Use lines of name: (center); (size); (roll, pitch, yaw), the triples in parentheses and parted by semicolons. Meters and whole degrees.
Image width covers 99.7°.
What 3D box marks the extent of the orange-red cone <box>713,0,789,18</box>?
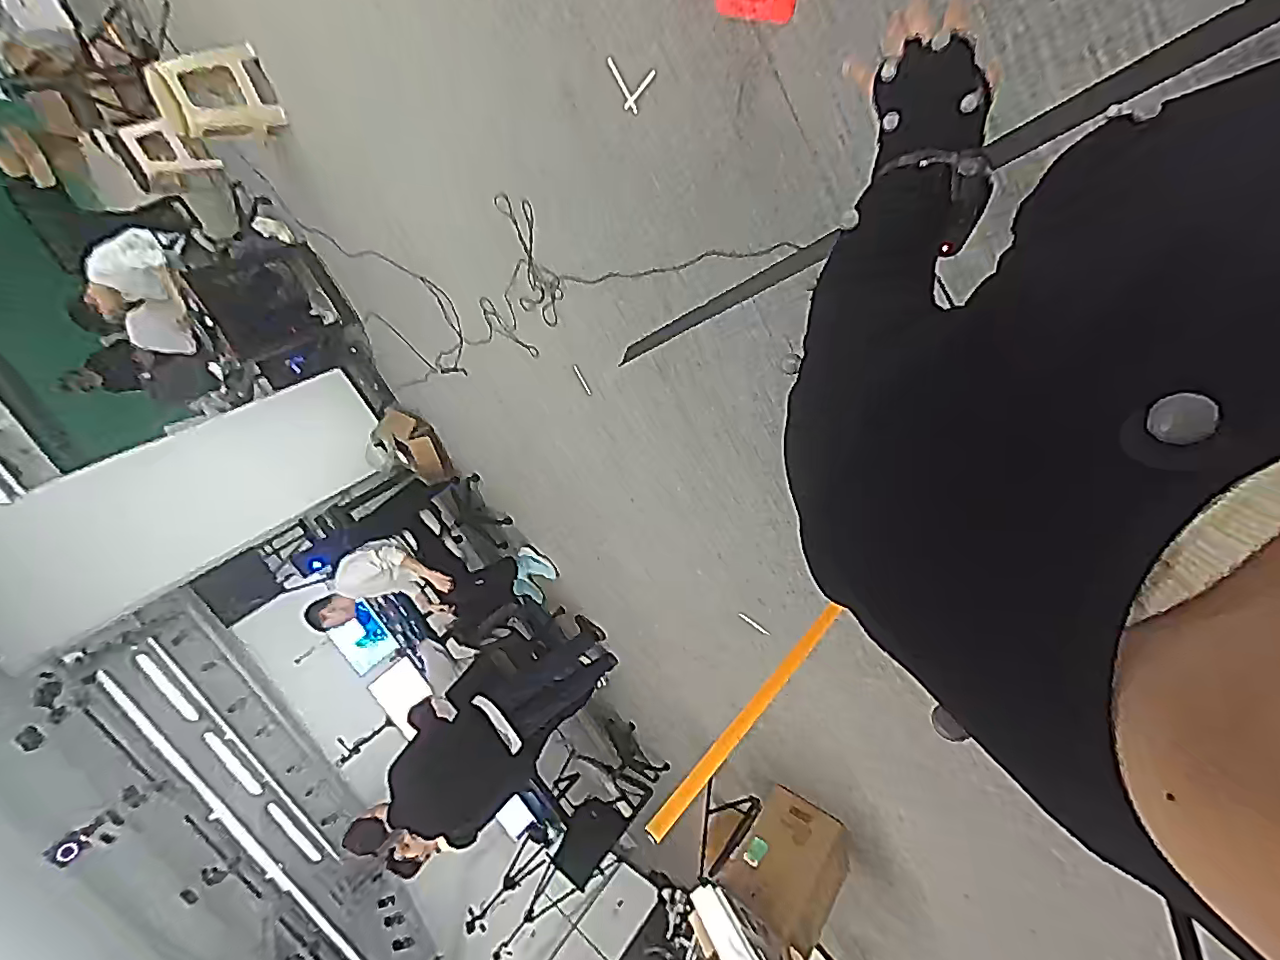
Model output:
orange-red cone: (0.133, -1.001, 1.021); (0.199, 0.360, 0.198); (32, 143, 23)
